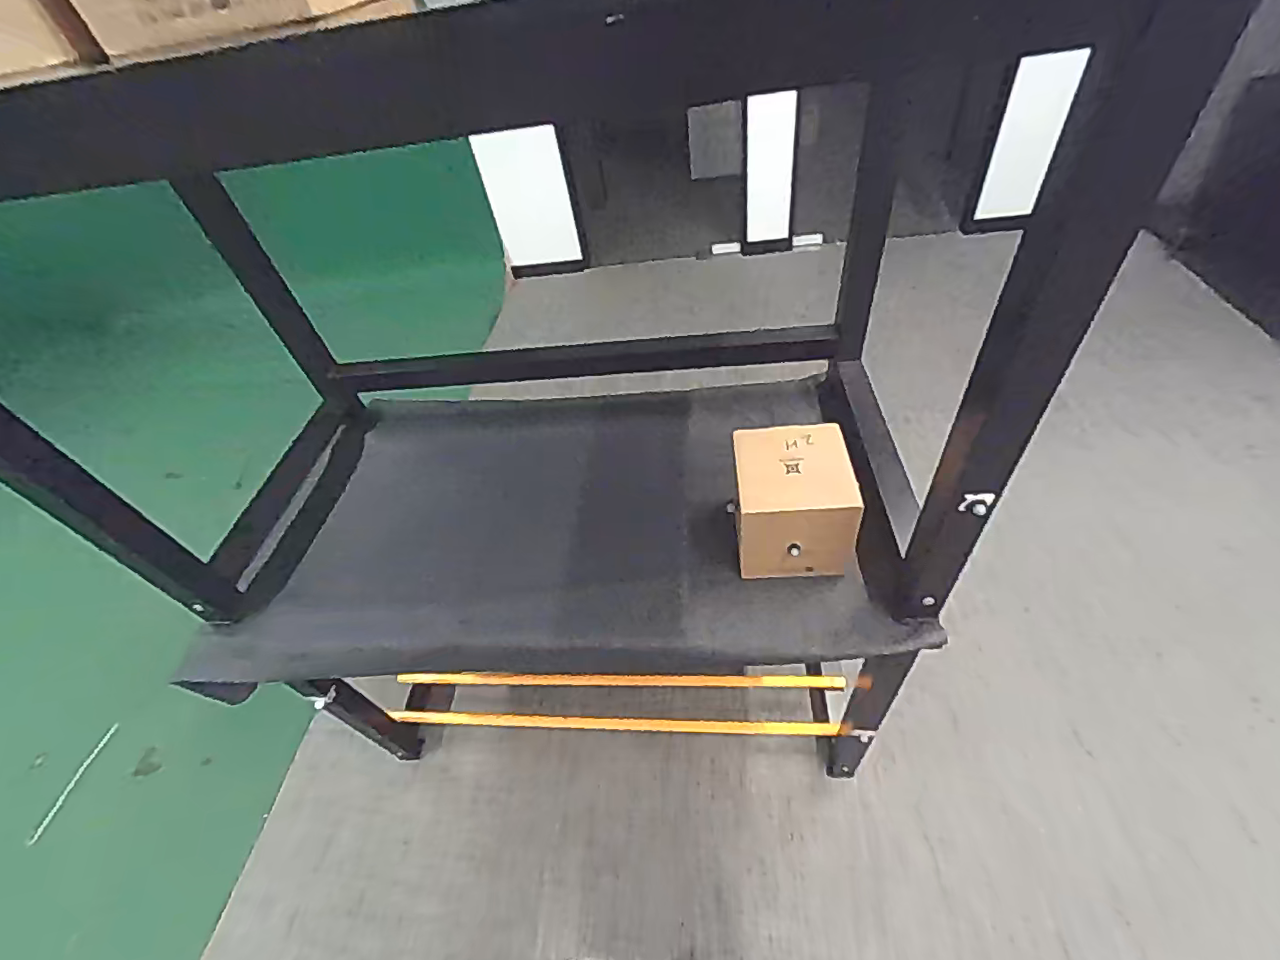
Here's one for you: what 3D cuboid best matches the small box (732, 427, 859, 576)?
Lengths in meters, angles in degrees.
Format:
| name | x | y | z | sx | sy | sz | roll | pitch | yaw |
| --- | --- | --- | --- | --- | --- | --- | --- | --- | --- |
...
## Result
| name | x | y | z | sx | sy | sz | roll | pitch | yaw |
| --- | --- | --- | --- | --- | --- | --- | --- | --- | --- |
| small box | 0.236 | 0.040 | 0.858 | 0.168 | 0.176 | 0.179 | -3 | 46 | 7 |
